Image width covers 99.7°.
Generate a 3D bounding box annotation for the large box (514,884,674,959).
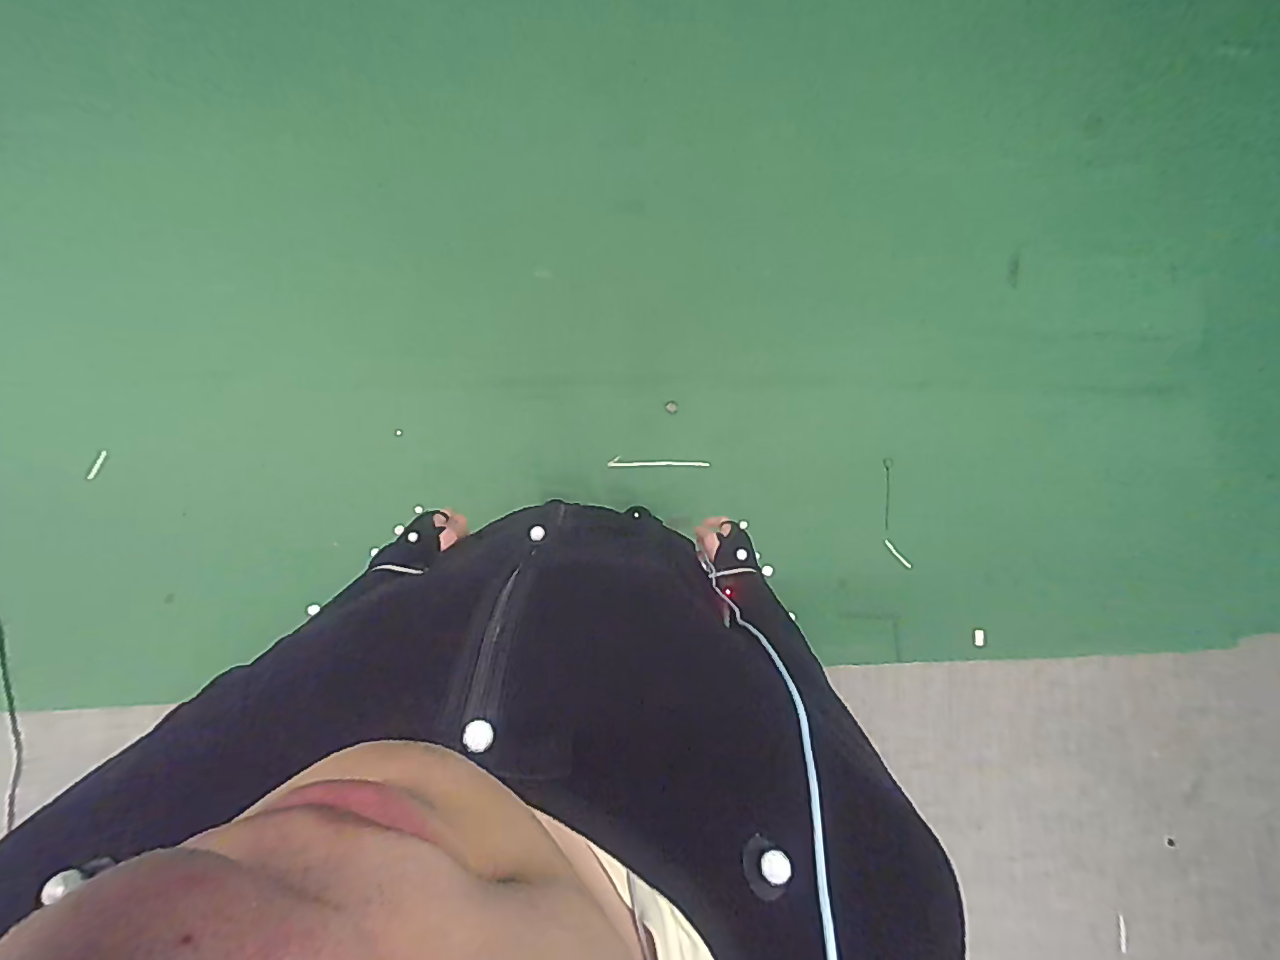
[{"bbox_3d":[-0.116,1.354,1.441,0.408,0.320,0.320,-3,87,-5],"label":"large box"}]
